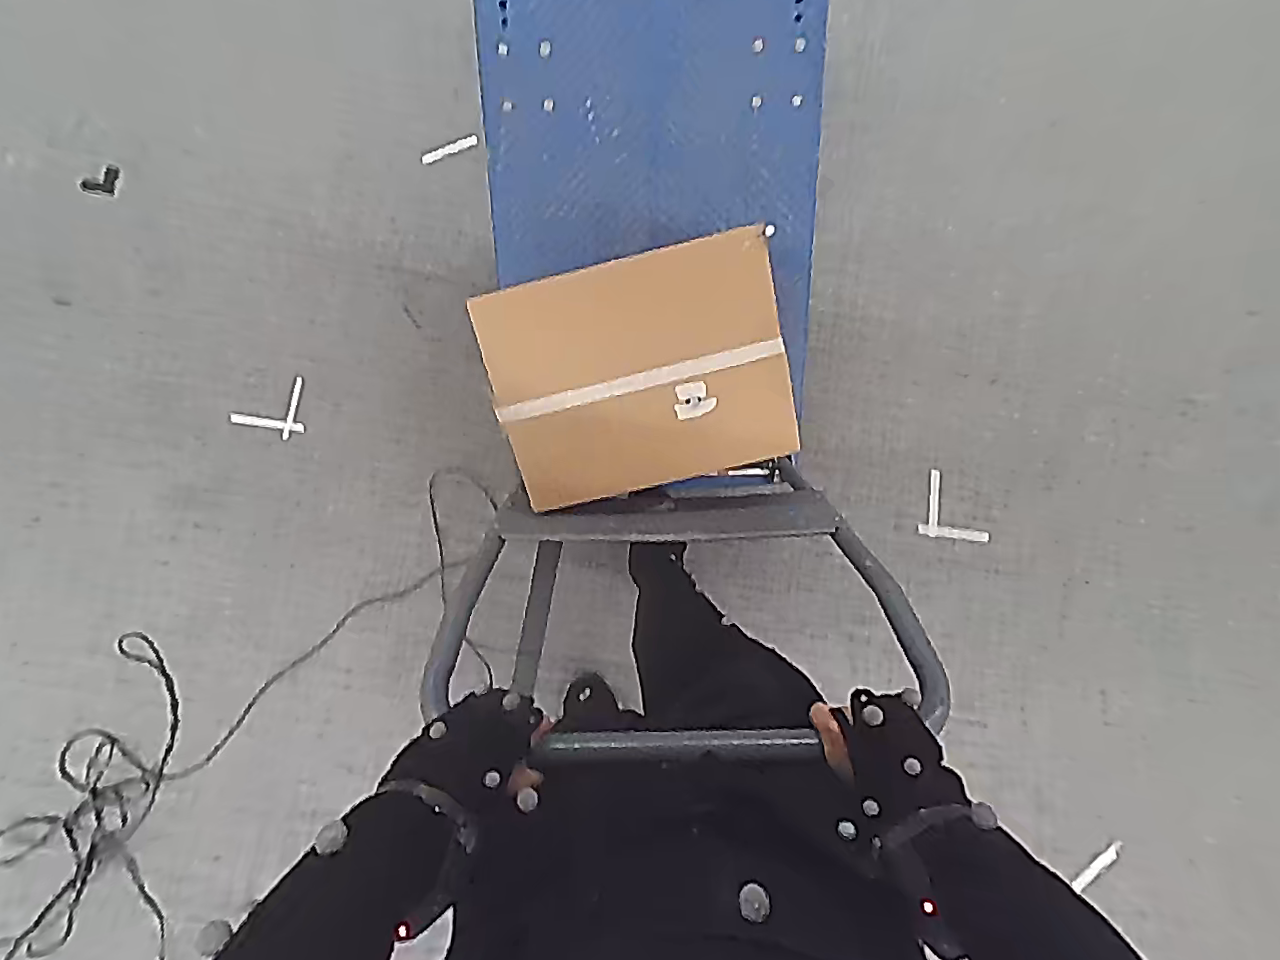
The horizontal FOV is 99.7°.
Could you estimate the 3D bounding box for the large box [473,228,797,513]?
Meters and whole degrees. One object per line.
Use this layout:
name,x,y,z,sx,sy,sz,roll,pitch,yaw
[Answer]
large box,-0.003,-0.180,0.900,0.408,0.320,0.320,-14,107,2
